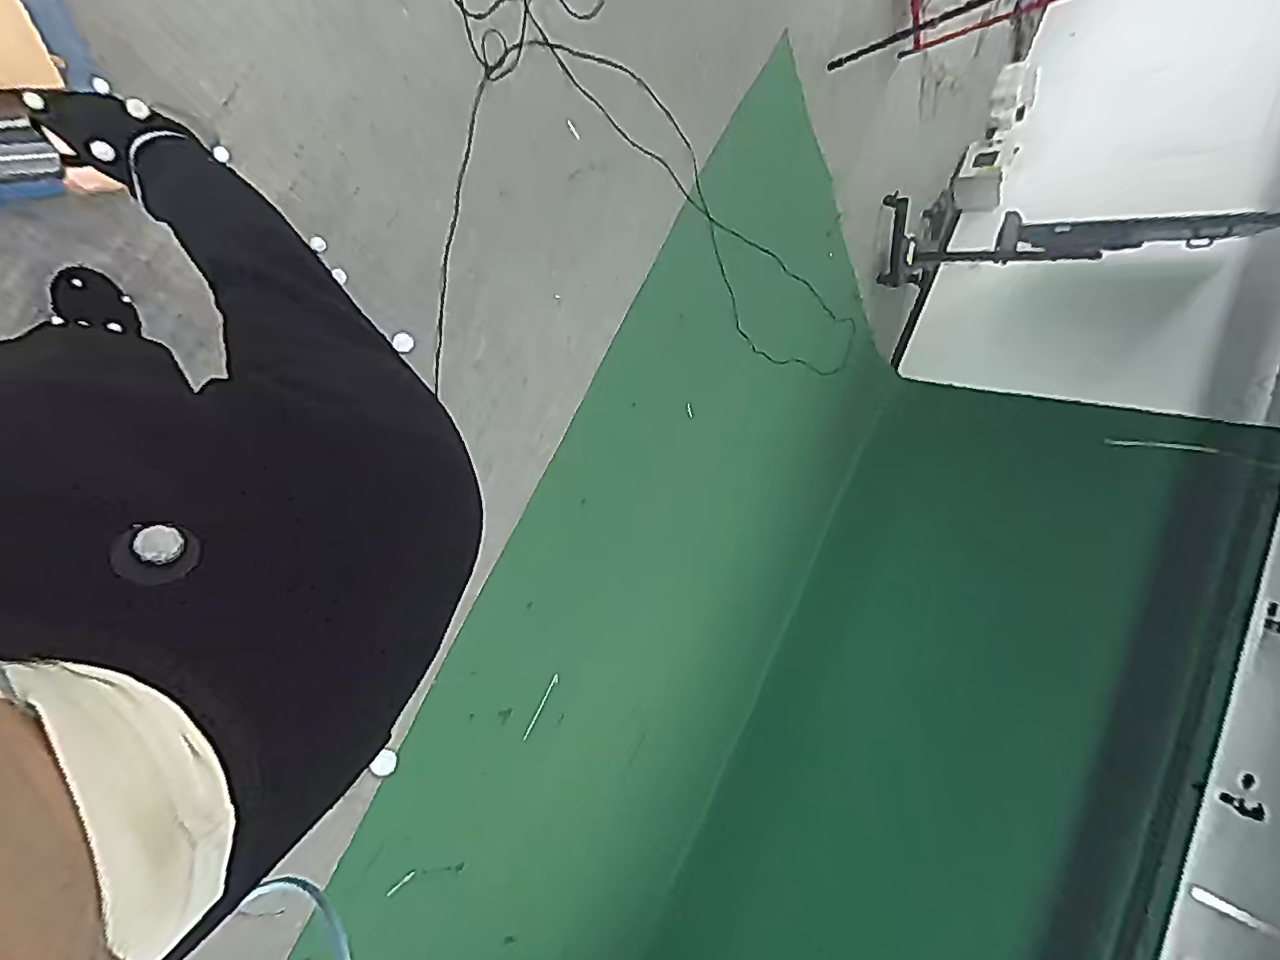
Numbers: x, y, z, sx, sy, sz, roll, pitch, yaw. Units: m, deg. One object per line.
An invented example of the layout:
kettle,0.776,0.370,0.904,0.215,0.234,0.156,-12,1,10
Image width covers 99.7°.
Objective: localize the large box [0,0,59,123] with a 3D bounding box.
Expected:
large box,-1.029,-0.678,0.646,0.320,0.320,0.408,-35,128,-38
